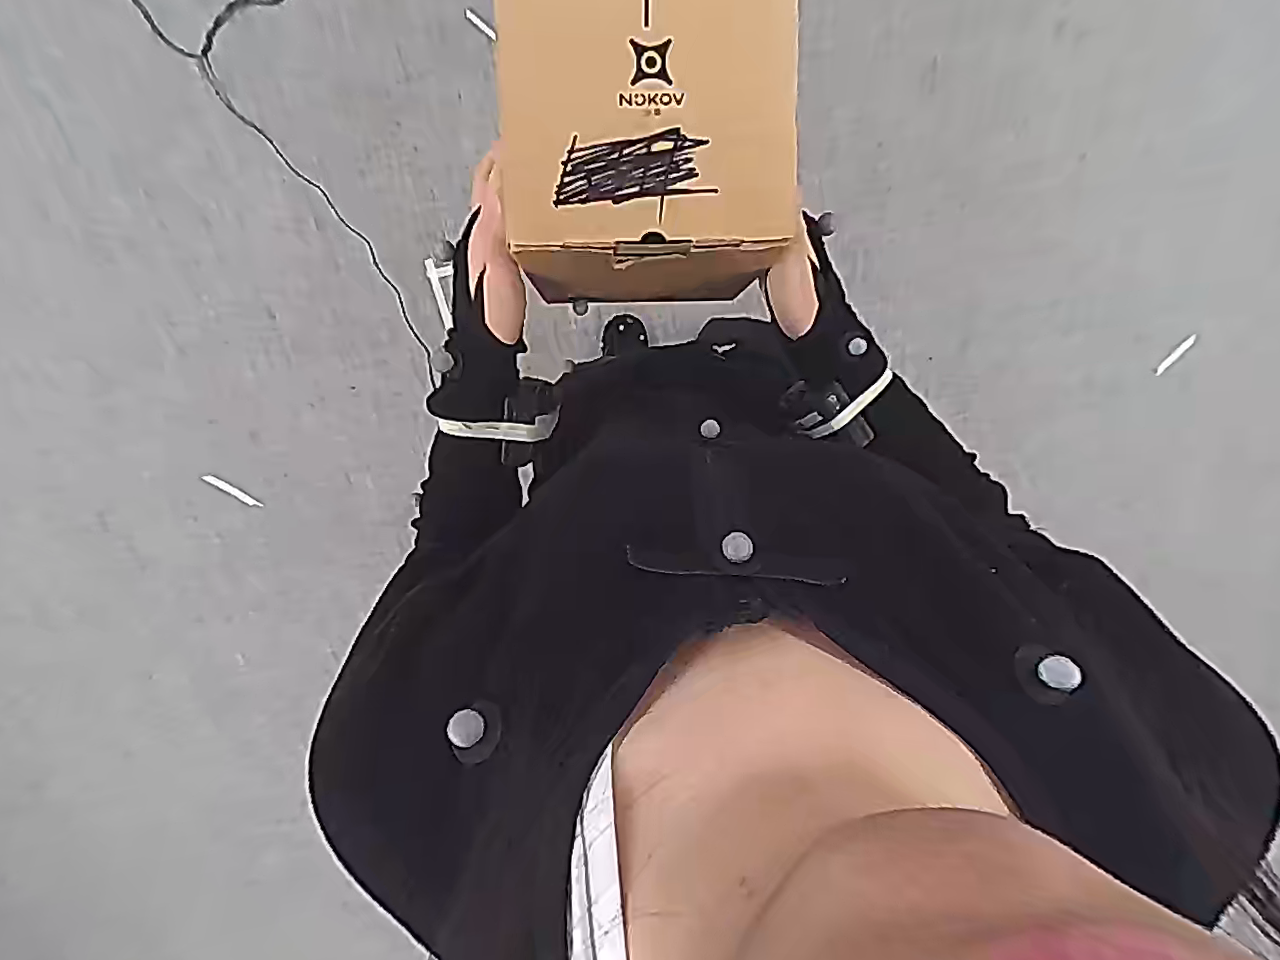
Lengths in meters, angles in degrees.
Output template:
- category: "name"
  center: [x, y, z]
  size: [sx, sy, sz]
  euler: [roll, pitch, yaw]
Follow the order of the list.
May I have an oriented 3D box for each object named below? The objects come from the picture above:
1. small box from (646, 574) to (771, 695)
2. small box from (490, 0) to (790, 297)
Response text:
- category: "small box"
  center: [0.103, 0.265, 0.855]
  size: [0.179, 0.176, 0.168]
  euler: [-8, 106, -1]
- category: "small box"
  center: [-0.001, -0.231, 0.378]
  size: [0.168, 0.176, 0.179]
  euler: [-2, 97, -2]
